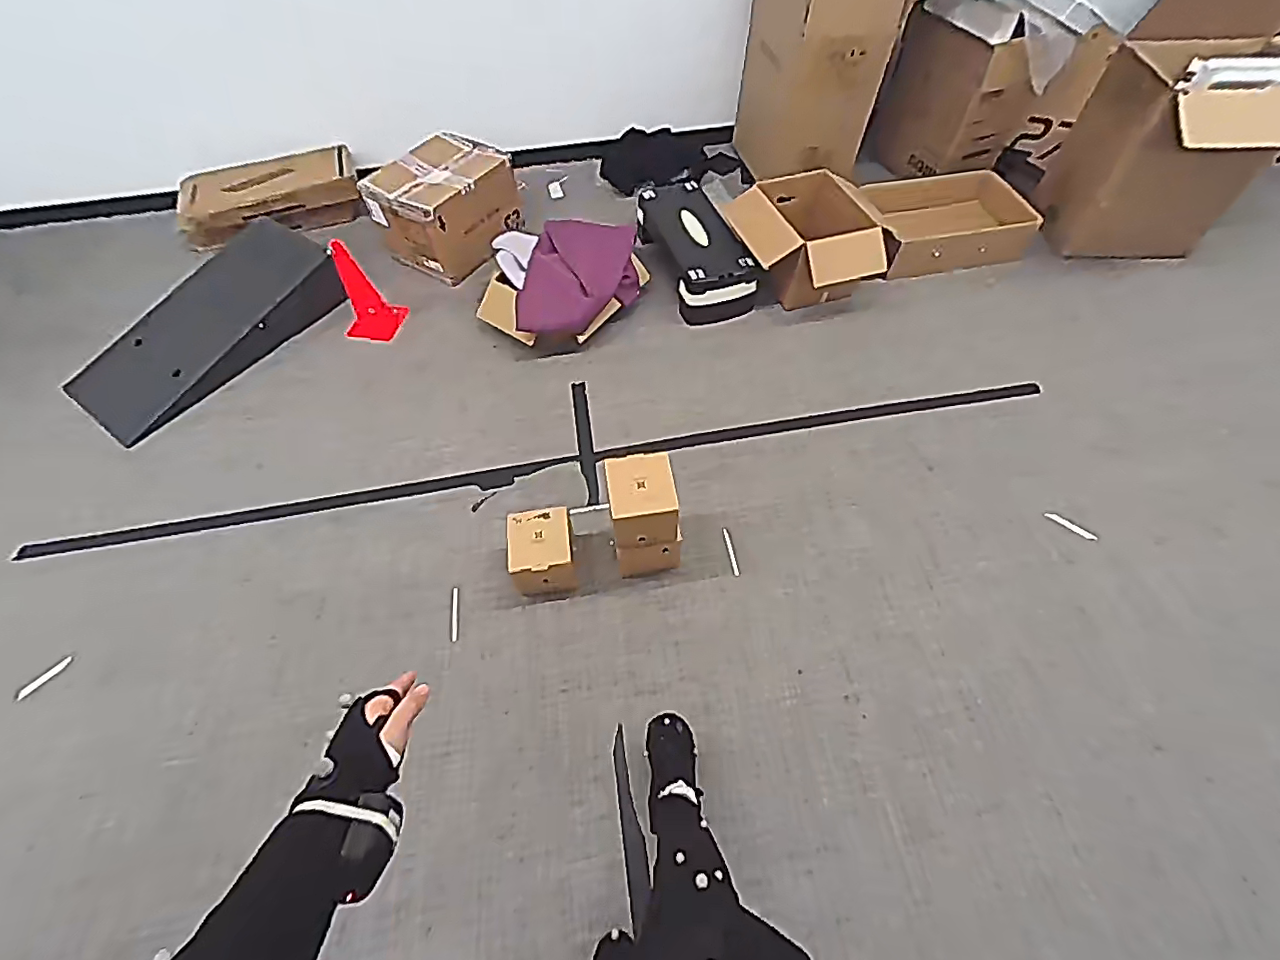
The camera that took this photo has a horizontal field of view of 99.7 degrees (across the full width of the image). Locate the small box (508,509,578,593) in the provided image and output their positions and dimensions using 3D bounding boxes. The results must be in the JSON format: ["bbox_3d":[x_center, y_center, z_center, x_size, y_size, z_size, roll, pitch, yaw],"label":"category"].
[{"bbox_3d":[-0.268,0.206,1.514,0.168,0.176,0.179,-7,58,-3],"label":"small box"}]

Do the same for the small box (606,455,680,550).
[{"bbox_3d":[0.006,0.061,1.407,0.168,0.176,0.179,-9,59,-3],"label":"small box"}]

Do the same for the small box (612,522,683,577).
[{"bbox_3d":[0.015,0.159,1.537,0.179,0.176,0.168,-10,57,-5],"label":"small box"}]
